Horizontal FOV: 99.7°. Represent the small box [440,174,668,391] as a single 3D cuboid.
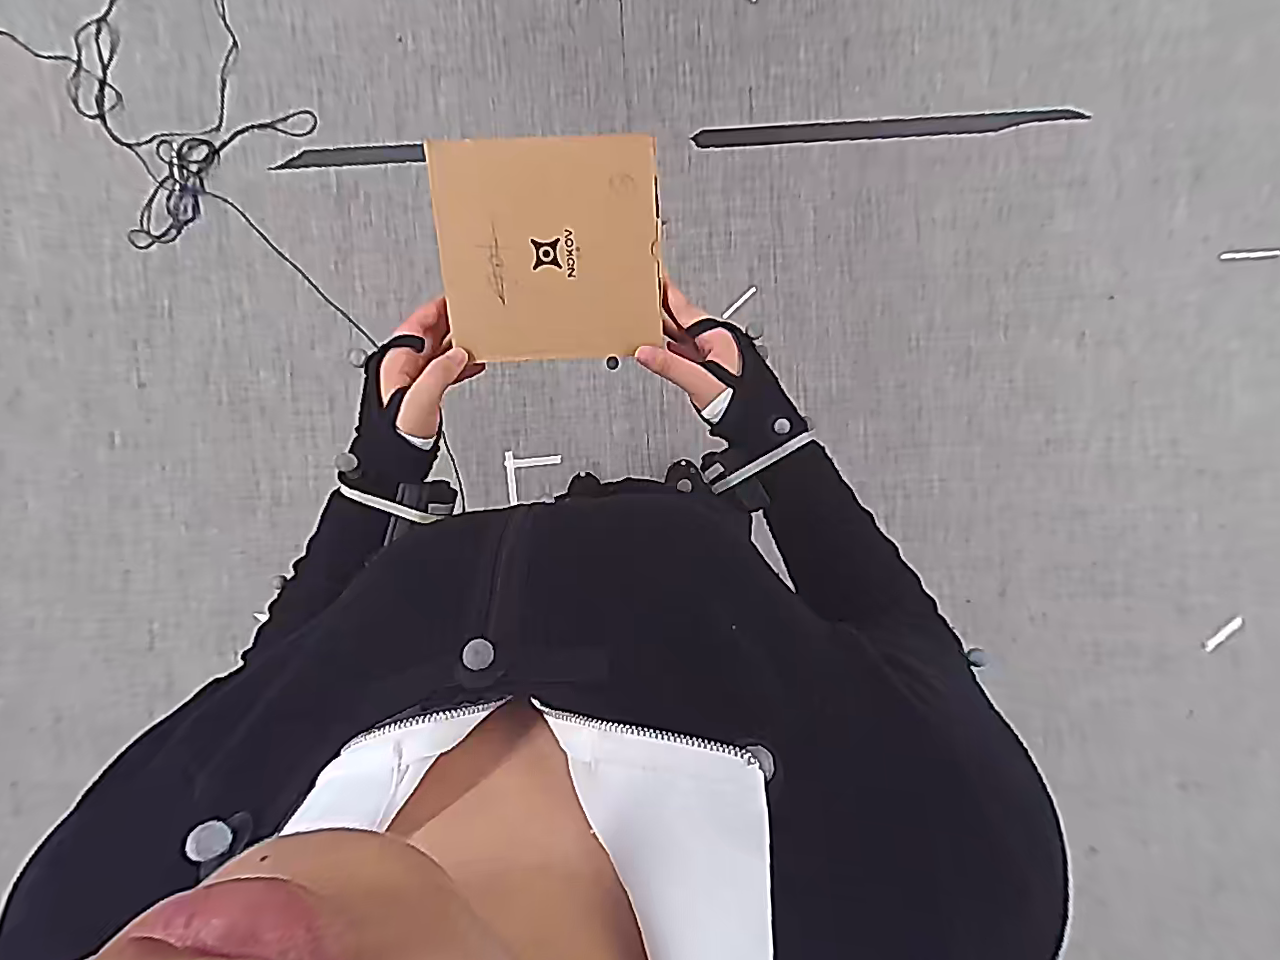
[{"bbox_3d":[-0.071,-0.181,0.524,0.179,0.176,0.168,-4,105,-1],"label":"small box"}]
